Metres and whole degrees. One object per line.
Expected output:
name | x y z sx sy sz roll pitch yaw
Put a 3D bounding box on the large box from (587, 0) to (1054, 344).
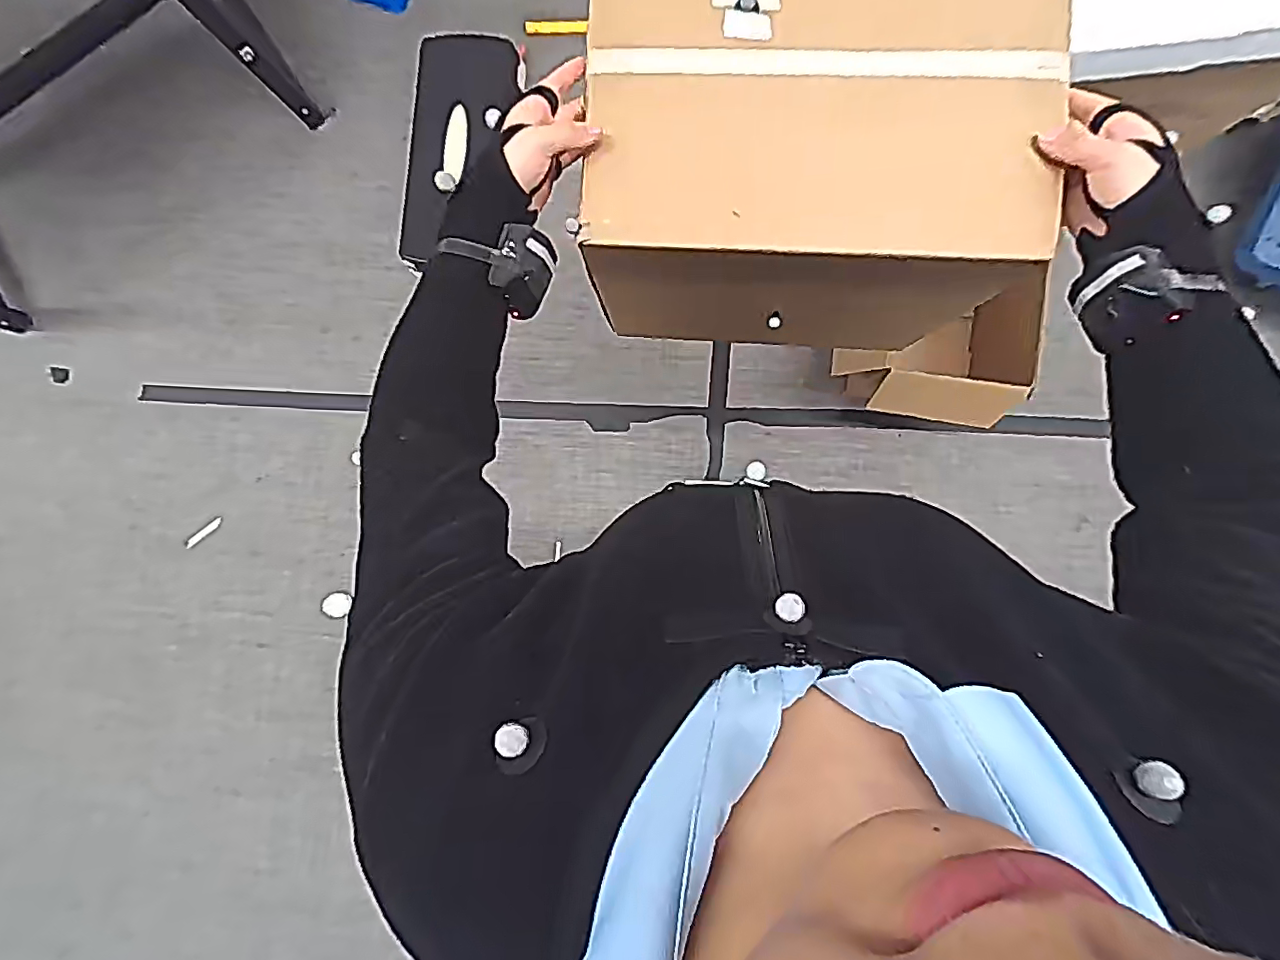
large box | 0.167 -0.349 0.627 0.408 0.320 0.320 3 88 4
